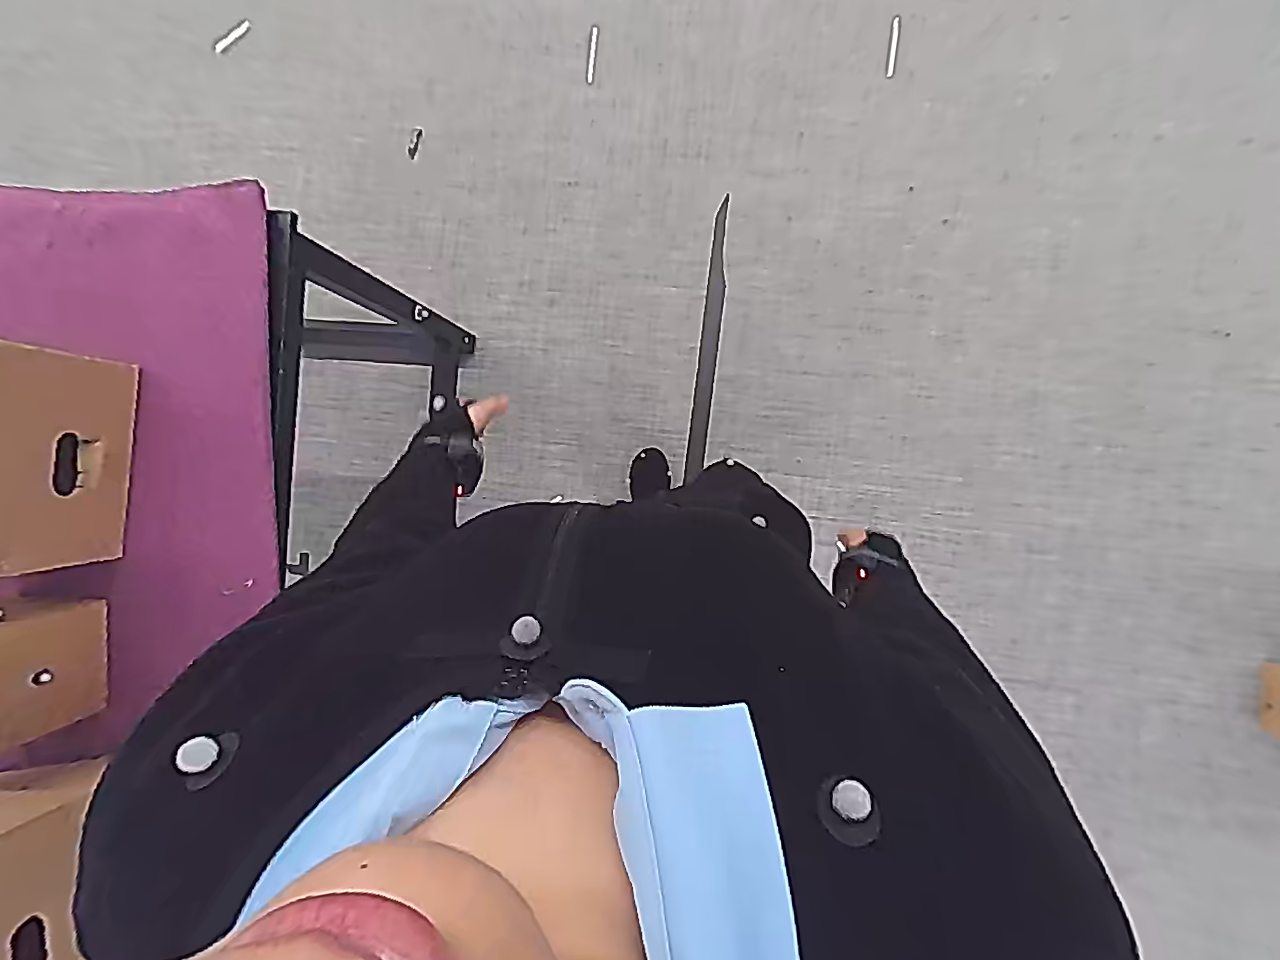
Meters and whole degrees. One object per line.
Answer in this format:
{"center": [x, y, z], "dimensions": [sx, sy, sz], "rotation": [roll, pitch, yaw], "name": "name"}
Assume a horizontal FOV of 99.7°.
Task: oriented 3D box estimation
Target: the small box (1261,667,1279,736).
{"center": [1.638, 0.551, 1.271], "dimensions": [0.179, 0.176, 0.168], "rotation": [2, 91, 5], "name": "small box"}
